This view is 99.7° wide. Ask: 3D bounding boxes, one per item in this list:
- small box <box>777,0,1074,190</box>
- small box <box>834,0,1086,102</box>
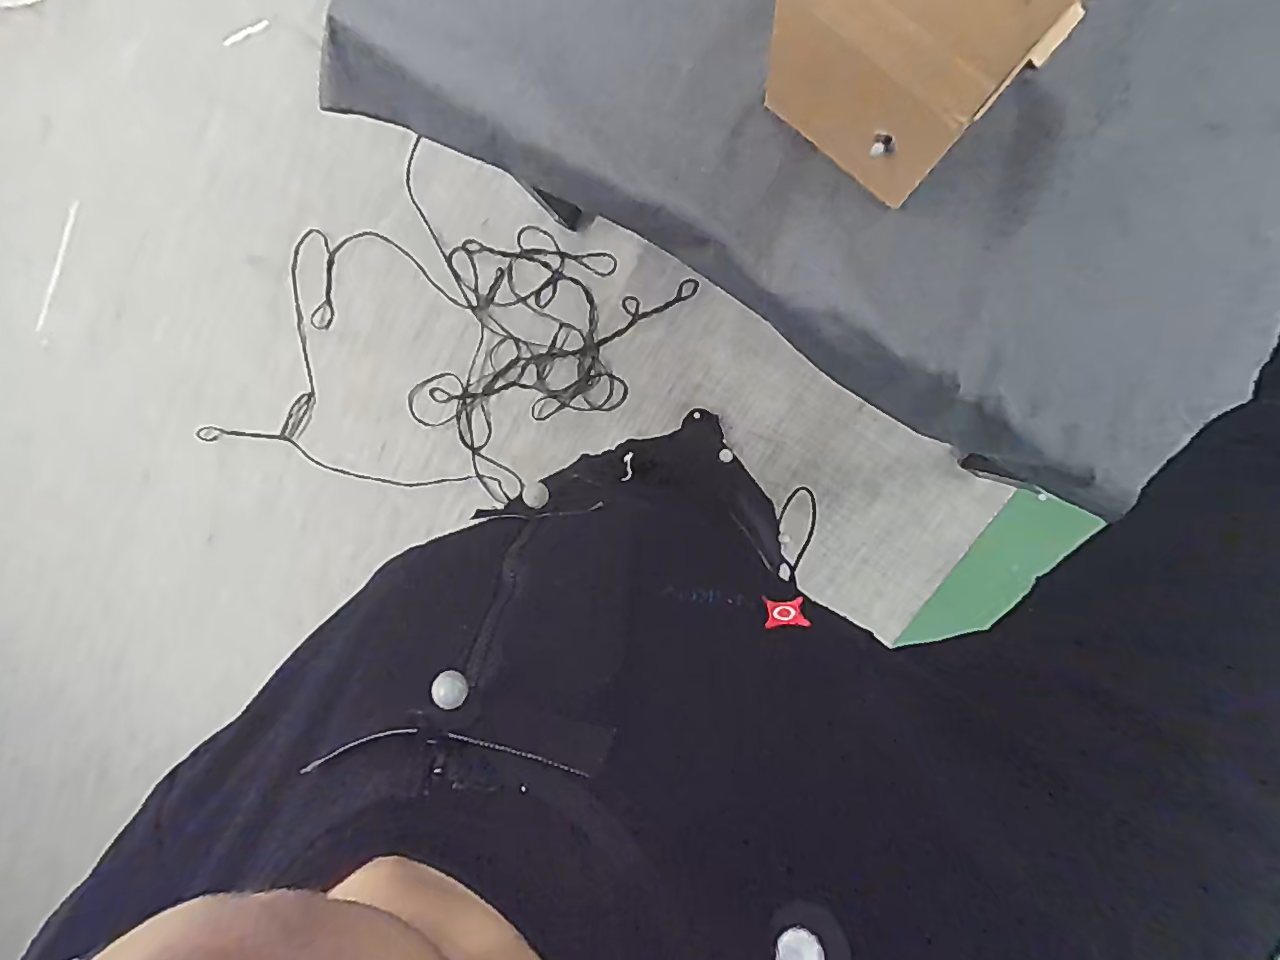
[{"bbox_3d":[0.237,-0.379,0.453,0.179,0.176,0.168,41,101,3],"label":"small box"},{"bbox_3d":[0.214,-0.362,0.294,0.179,0.176,0.168,40,101,1],"label":"small box"}]
